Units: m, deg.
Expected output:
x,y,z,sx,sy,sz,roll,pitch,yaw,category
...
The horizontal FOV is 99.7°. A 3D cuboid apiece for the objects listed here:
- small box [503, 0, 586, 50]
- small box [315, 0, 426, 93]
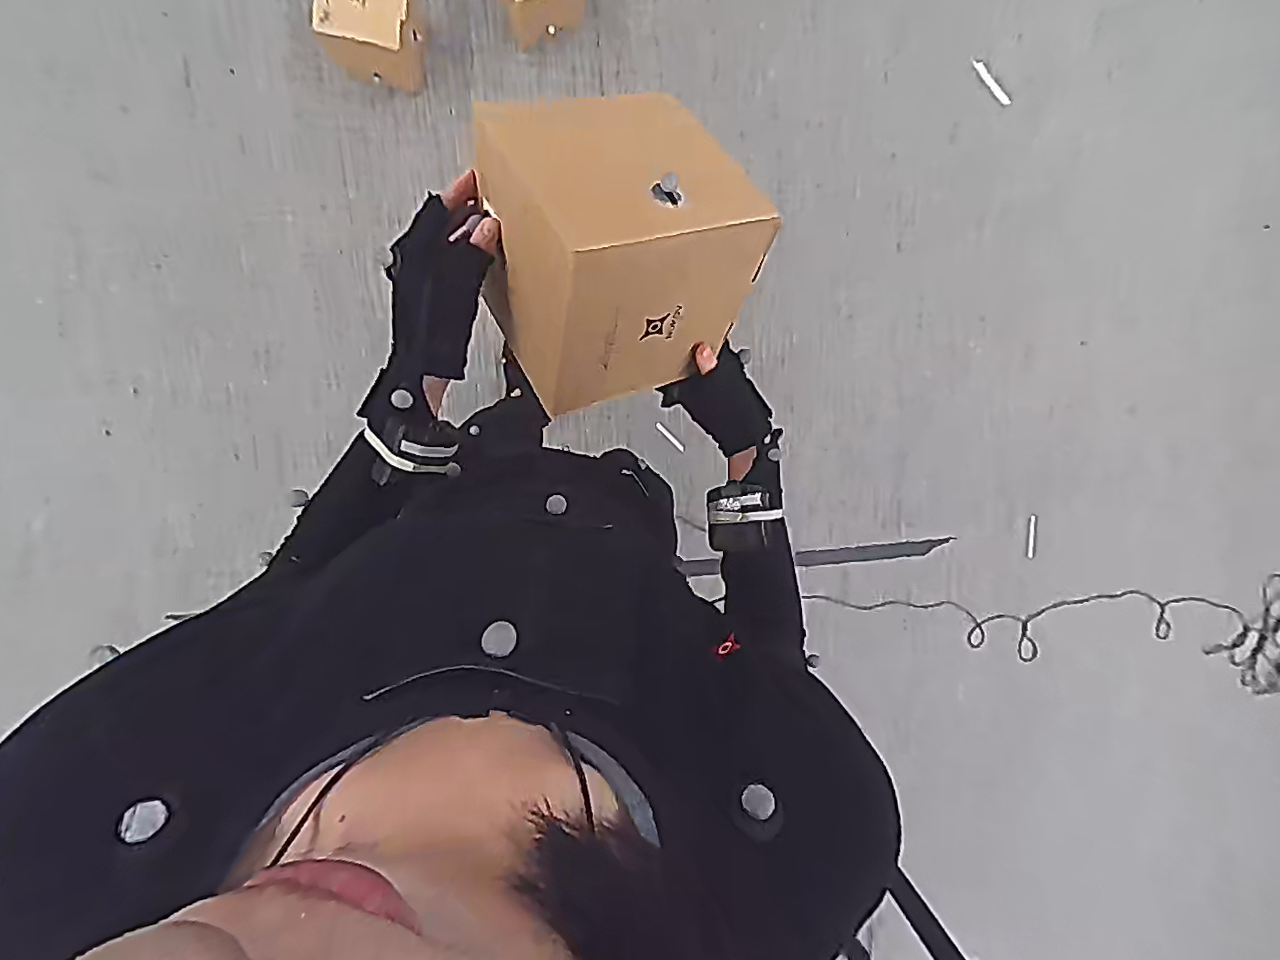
x,y,z,sx,sy,sz,roll,pitch,yaw,category
-0.230,-1.138,1.225,0.168,0.176,0.179,-24,102,-4,small box
-0.585,-1.001,1.196,0.179,0.176,0.168,8,97,-9,small box
